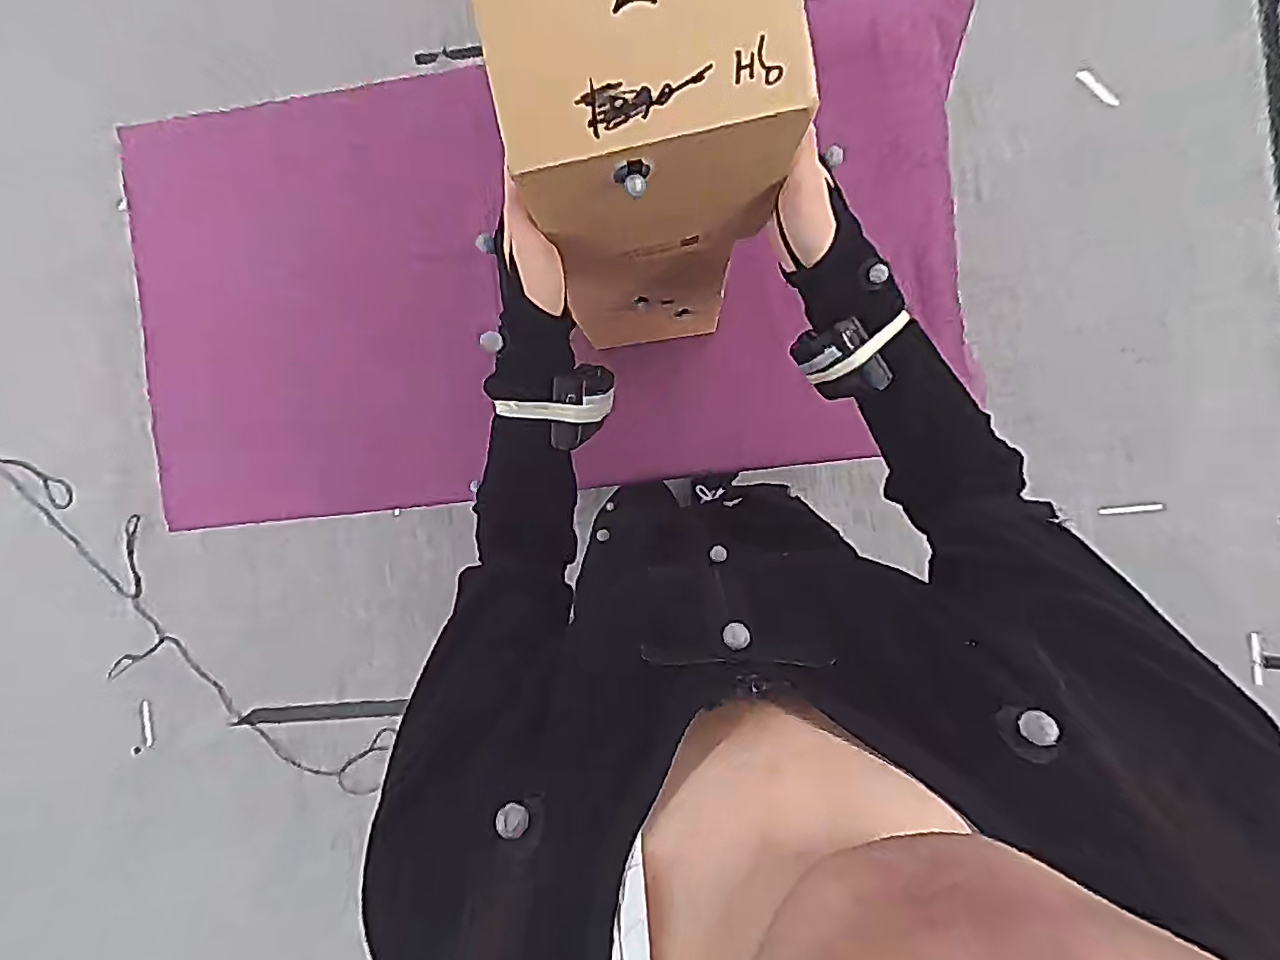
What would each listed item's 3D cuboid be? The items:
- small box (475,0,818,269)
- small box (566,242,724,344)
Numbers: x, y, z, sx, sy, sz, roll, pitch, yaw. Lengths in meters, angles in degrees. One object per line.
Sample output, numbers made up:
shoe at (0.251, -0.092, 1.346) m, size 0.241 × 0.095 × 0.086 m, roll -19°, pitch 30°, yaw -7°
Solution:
small box at (-0.003, -0.265, 0.352) m, size 0.168 × 0.176 × 0.179 m, roll -11°, pitch 92°, yaw 3°
small box at (0.006, -0.283, 0.691) m, size 0.179 × 0.176 × 0.168 m, roll -7°, pitch 90°, yaw 6°
